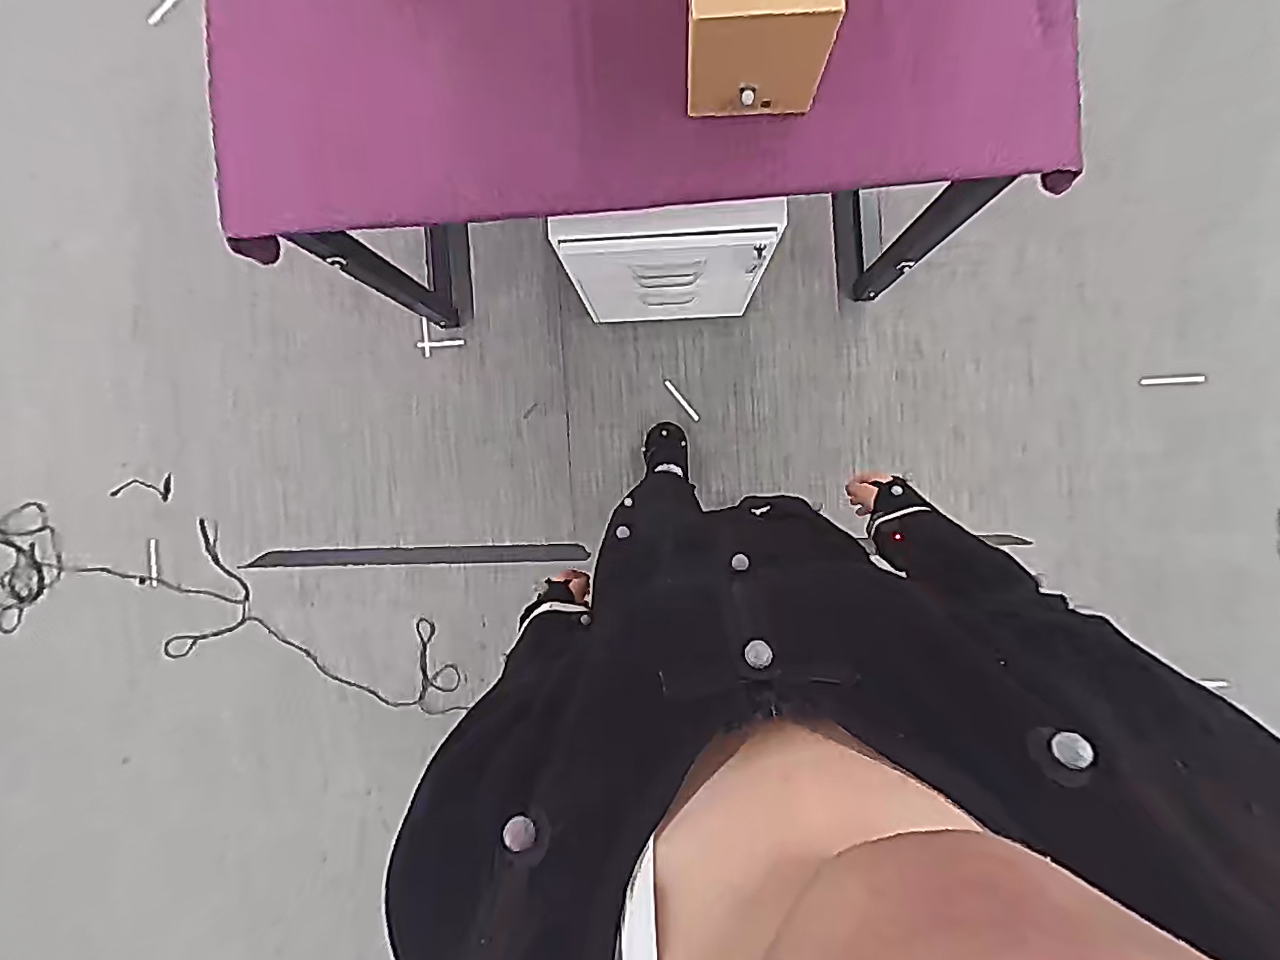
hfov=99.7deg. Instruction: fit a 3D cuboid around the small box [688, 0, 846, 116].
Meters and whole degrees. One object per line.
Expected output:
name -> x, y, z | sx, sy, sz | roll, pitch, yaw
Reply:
small box -> 0.144, -0.586, 0.659 | 0.168, 0.176, 0.179 | 1, 91, 4
